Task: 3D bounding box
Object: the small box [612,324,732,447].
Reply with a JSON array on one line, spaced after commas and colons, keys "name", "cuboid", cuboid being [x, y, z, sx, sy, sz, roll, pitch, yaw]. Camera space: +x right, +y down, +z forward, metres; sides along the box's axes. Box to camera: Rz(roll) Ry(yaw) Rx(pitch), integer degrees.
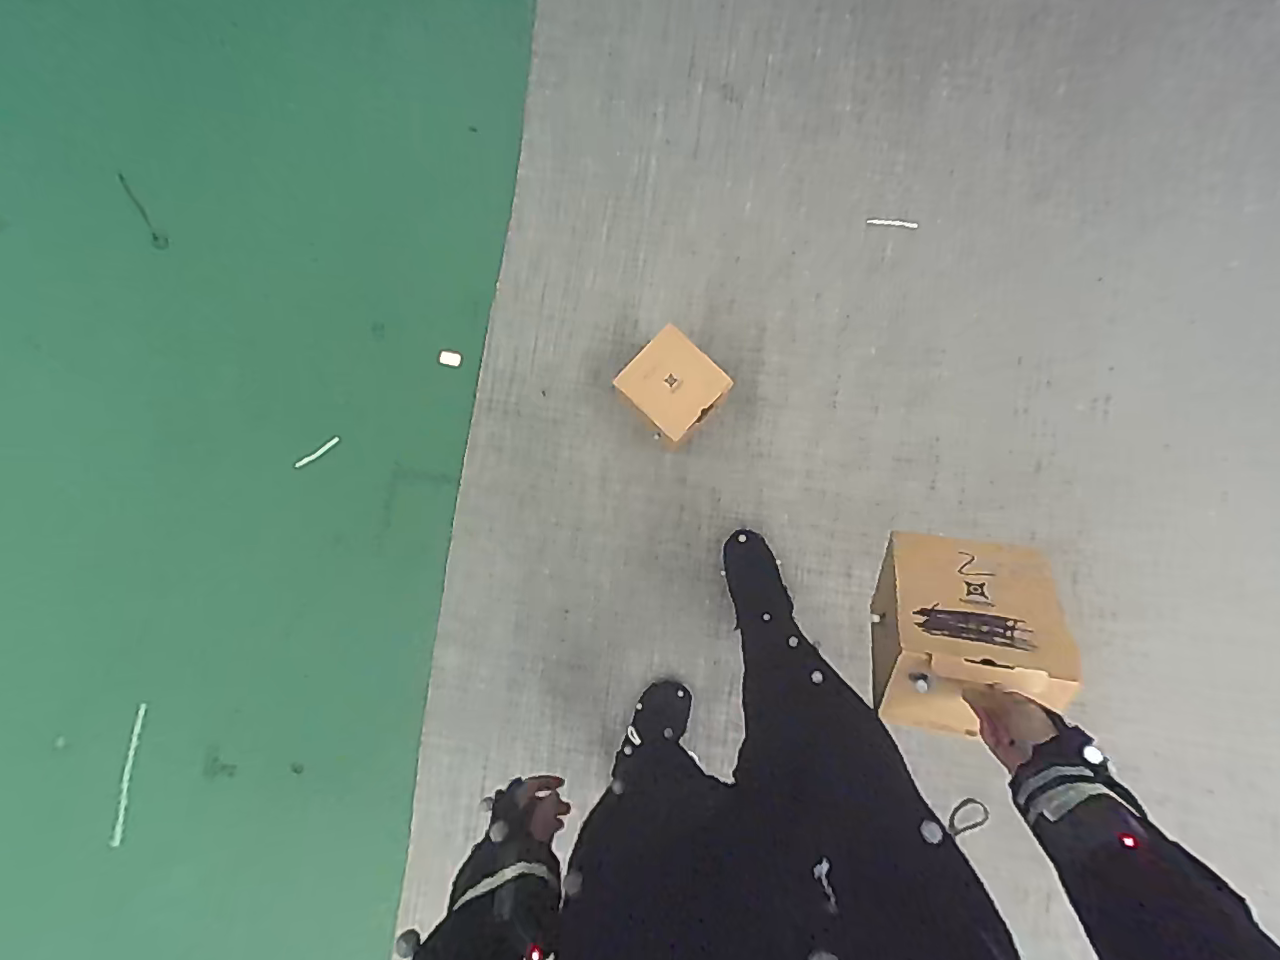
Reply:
[{"name": "small box", "cuboid": [0.067, -0.184, 1.118, 0.179, 0.176, 0.168, 44, 89, 6]}]
